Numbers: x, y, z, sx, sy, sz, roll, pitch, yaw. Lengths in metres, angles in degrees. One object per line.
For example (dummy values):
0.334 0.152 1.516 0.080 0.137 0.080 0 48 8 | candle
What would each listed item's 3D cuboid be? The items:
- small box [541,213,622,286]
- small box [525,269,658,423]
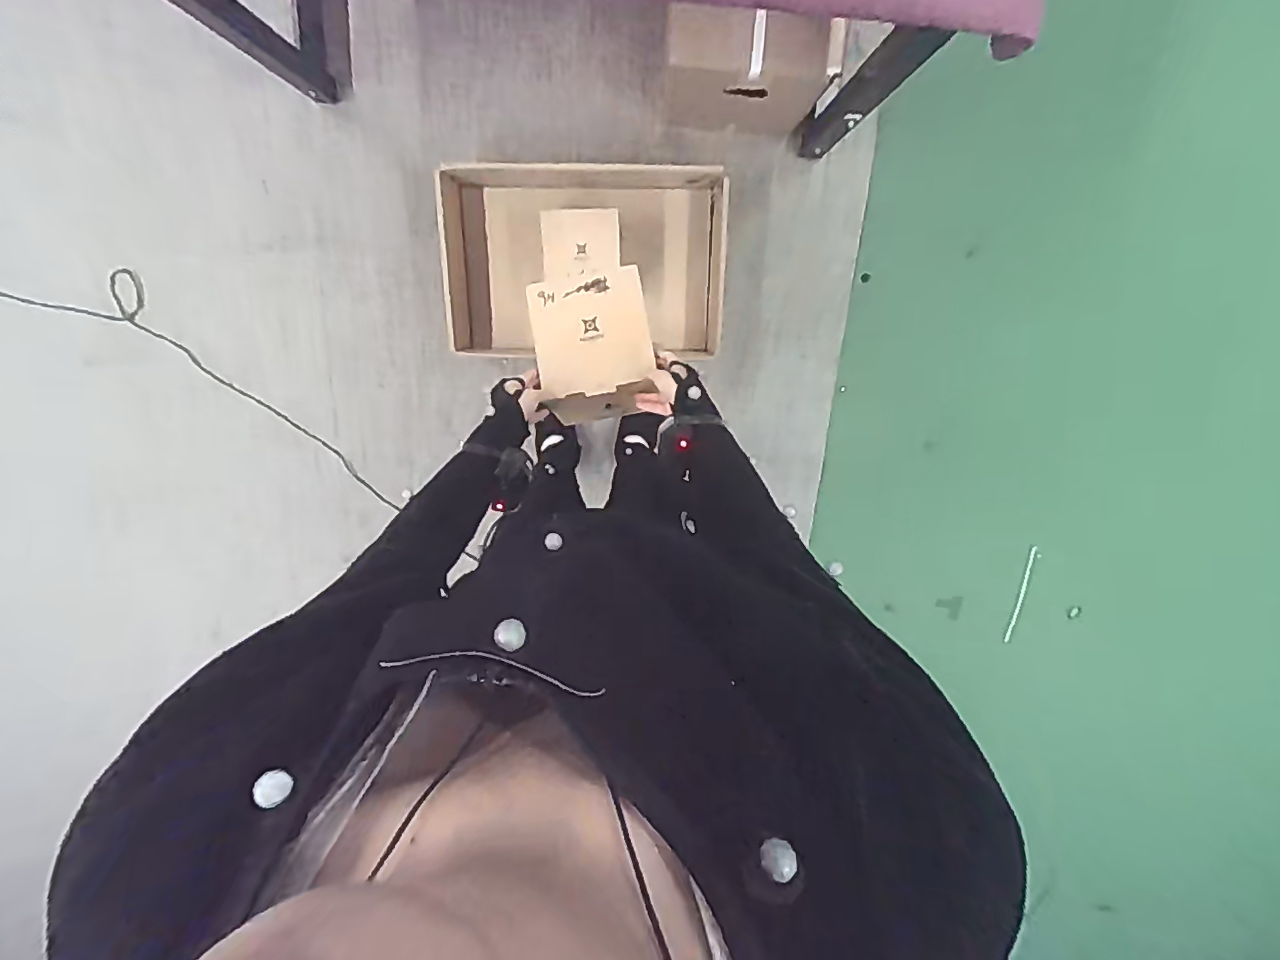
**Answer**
-0.127 -0.491 1.221 0.168 0.176 0.179 -1 106 0 | small box
-0.066 -0.192 0.834 0.168 0.176 0.179 -10 83 1 | small box
